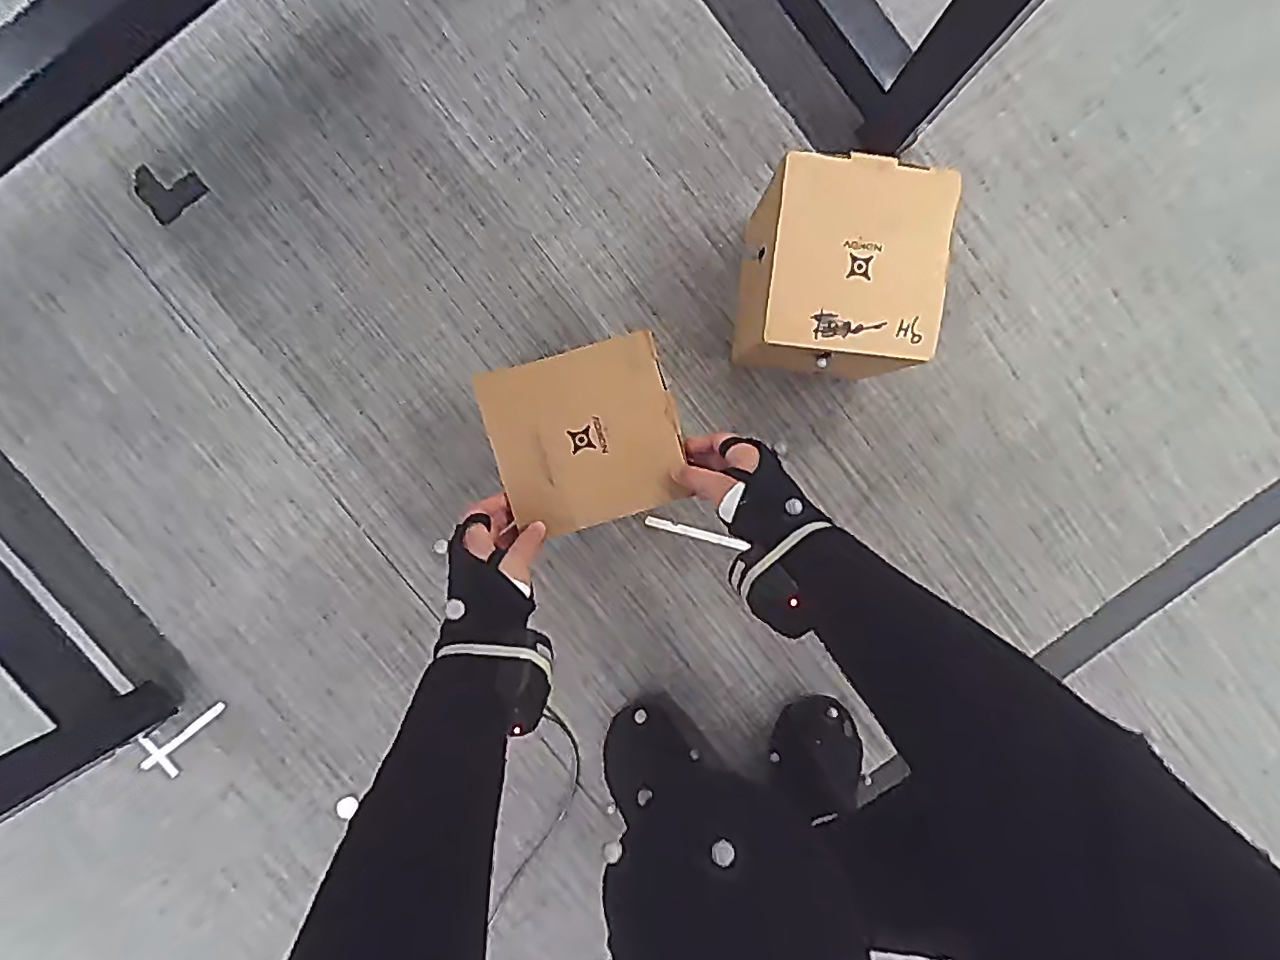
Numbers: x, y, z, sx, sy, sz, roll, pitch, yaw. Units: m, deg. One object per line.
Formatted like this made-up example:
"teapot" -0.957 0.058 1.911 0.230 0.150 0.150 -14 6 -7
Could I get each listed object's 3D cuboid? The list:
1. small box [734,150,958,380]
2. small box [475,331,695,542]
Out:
"small box" 0.202 -0.212 0.579 0.168 0.176 0.179 6 94 -1
"small box" -0.053 -0.047 0.590 0.179 0.176 0.168 -17 94 1
